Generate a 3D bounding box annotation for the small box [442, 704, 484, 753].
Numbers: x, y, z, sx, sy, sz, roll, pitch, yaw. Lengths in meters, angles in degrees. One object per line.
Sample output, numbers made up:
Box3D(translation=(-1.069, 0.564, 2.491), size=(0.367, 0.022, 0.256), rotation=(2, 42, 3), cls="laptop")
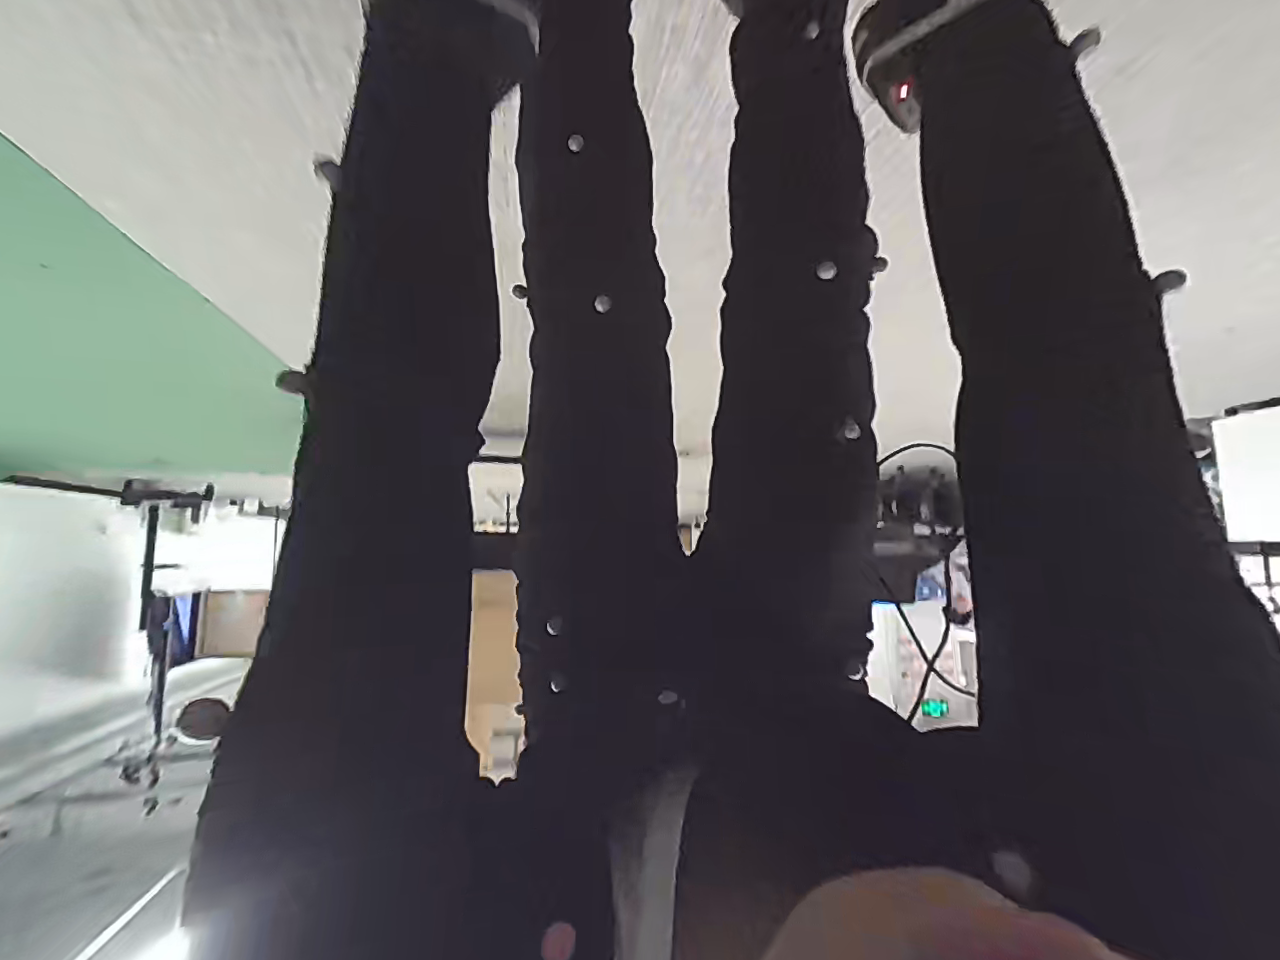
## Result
Box3D(translation=(-0.837, 1.171, 2.563), size=(0.168, 0.176, 0.179), rotation=(4, 168, -26), cls="small box")
